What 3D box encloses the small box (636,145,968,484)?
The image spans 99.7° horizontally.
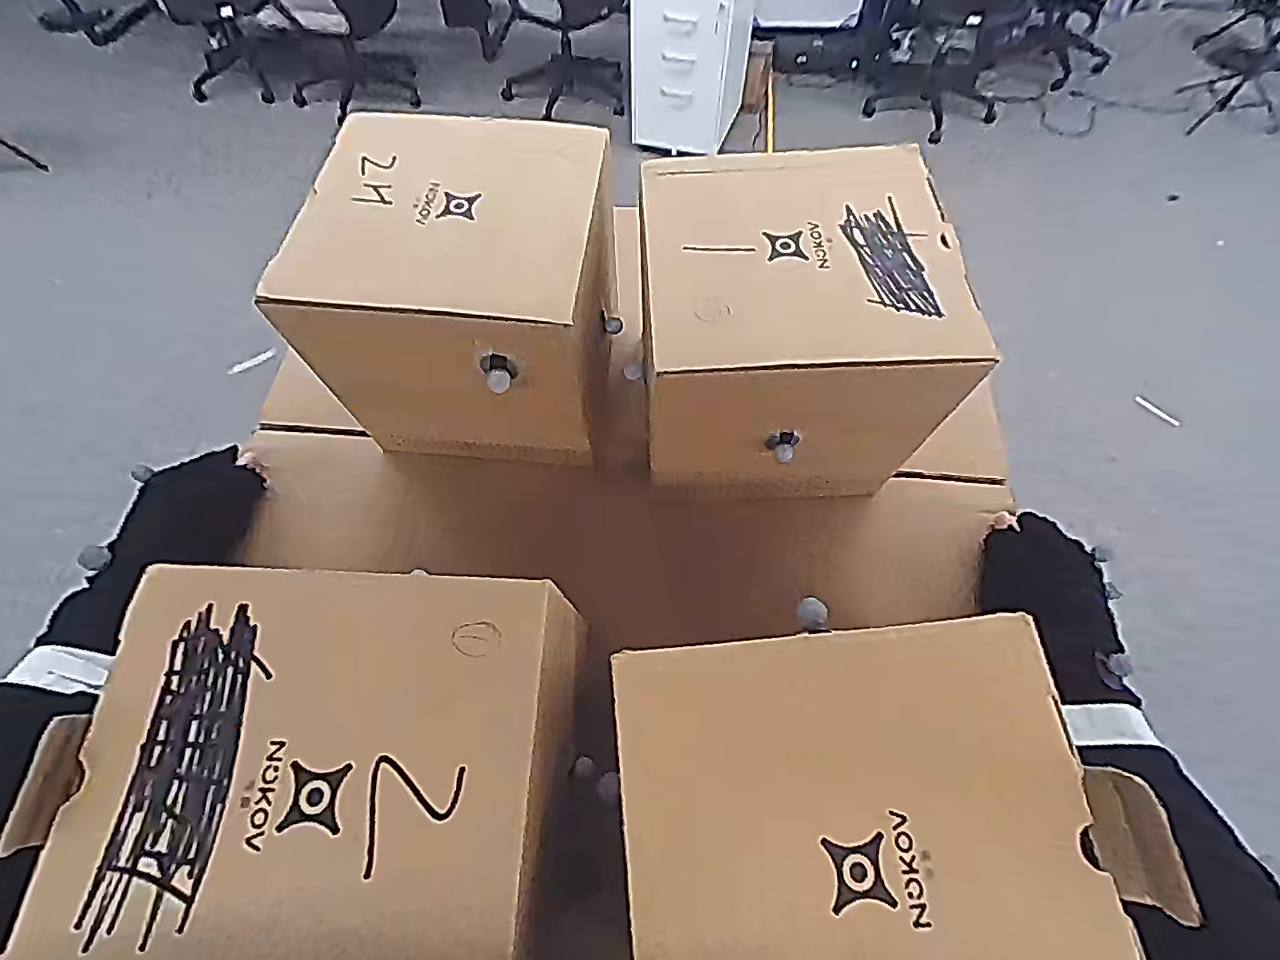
[{"bbox_3d":[0.087,-0.104,0.388,0.179,0.176,0.168,-2,65,1],"label":"small box"}]

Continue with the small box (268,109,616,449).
[{"bbox_3d":[-0.115,-0.136,0.405,0.179,0.176,0.168,6,65,3],"label":"small box"}]
